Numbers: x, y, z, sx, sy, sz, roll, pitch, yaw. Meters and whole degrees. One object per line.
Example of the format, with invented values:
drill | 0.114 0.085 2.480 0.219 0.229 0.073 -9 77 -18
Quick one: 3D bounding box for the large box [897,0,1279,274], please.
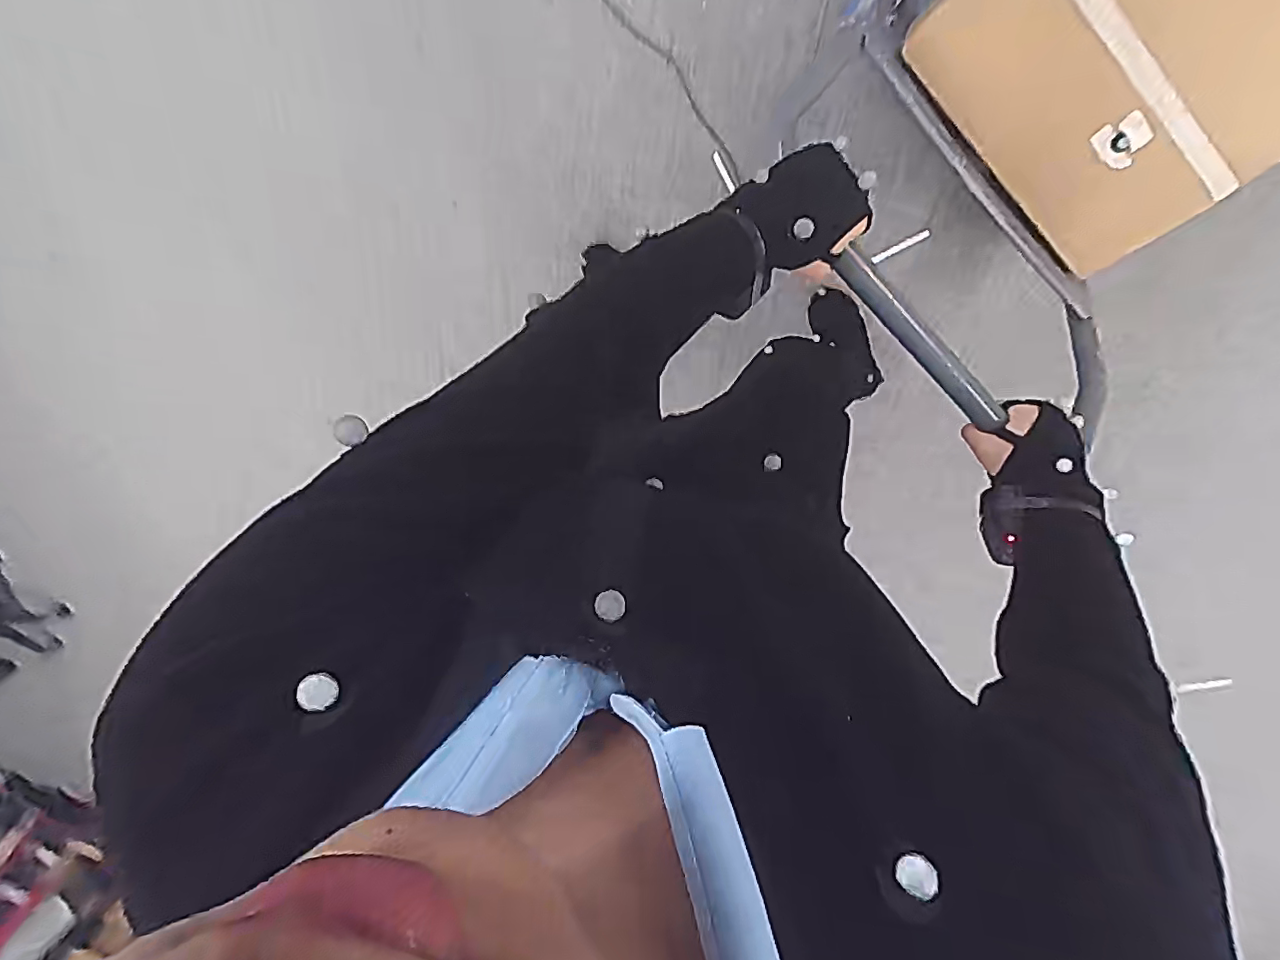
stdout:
large box | 0.609 -0.578 0.725 0.408 0.320 0.320 40 138 -13
